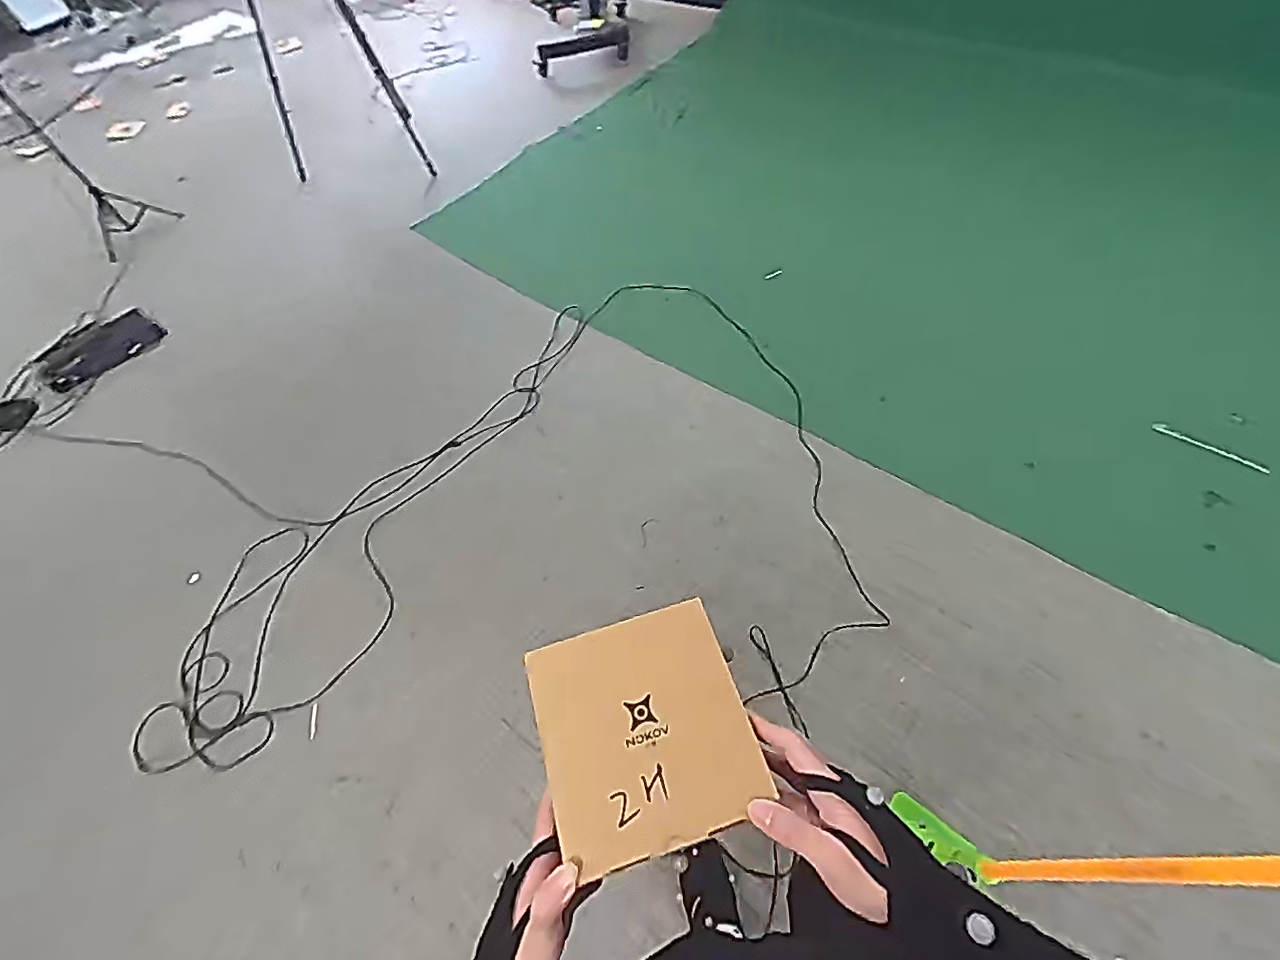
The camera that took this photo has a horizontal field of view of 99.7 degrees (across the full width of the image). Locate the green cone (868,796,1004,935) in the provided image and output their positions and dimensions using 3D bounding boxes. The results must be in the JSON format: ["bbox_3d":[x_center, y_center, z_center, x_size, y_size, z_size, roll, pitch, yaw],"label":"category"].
[{"bbox_3d":[0.630,0.767,1.078,0.202,0.368,0.200,32,65,24],"label":"green cone"}]
